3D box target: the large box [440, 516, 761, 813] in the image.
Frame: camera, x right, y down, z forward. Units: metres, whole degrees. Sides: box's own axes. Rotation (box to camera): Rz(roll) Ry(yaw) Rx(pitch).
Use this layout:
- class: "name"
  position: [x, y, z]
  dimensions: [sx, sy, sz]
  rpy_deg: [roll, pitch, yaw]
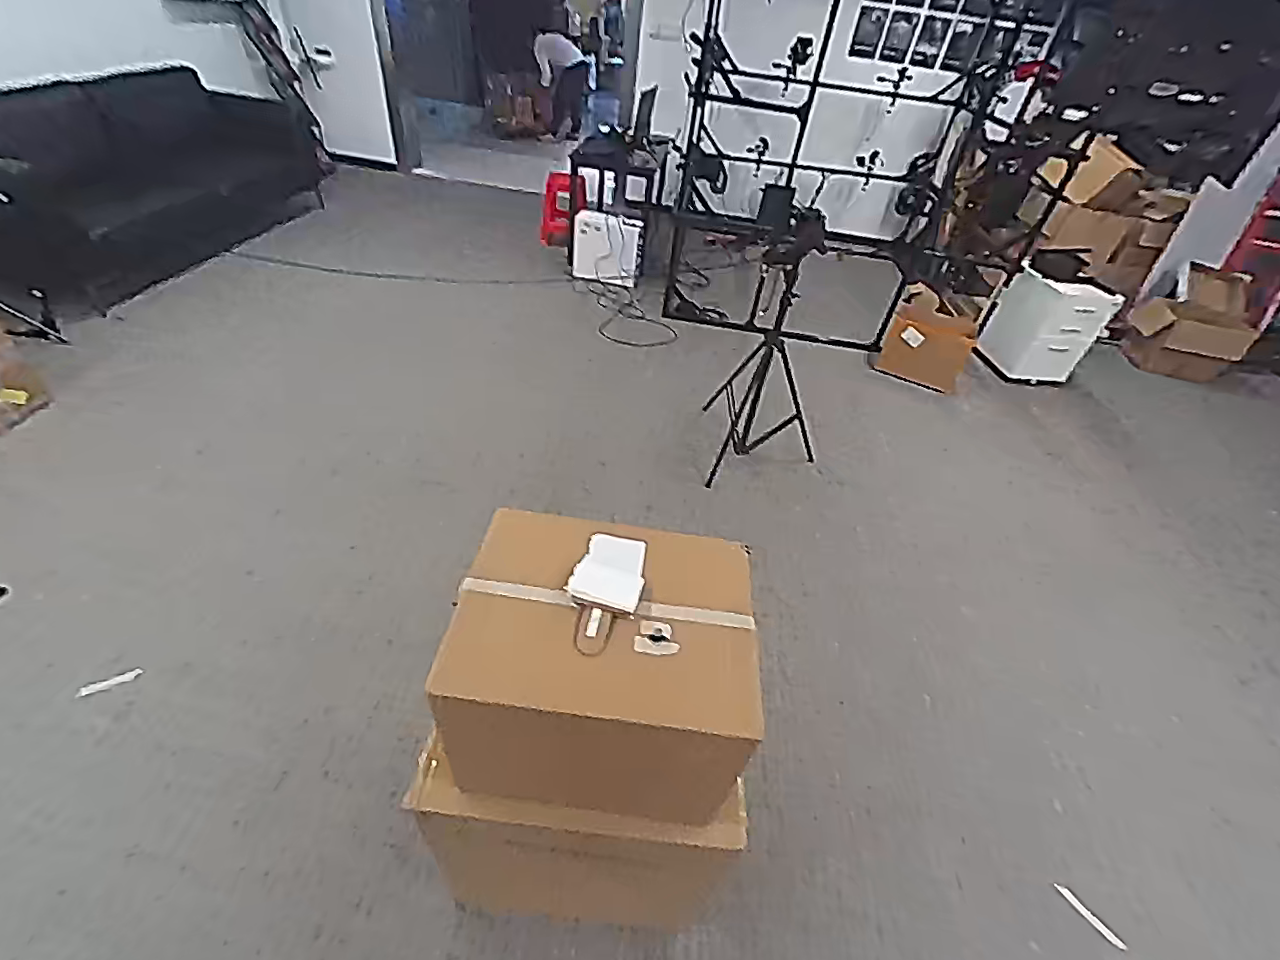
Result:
- class: "large box"
  position: [-0.058, 0.293, 0.863]
  dimensions: [0.408, 0.320, 0.320]
  rpy_deg: [8, 41, -1]
